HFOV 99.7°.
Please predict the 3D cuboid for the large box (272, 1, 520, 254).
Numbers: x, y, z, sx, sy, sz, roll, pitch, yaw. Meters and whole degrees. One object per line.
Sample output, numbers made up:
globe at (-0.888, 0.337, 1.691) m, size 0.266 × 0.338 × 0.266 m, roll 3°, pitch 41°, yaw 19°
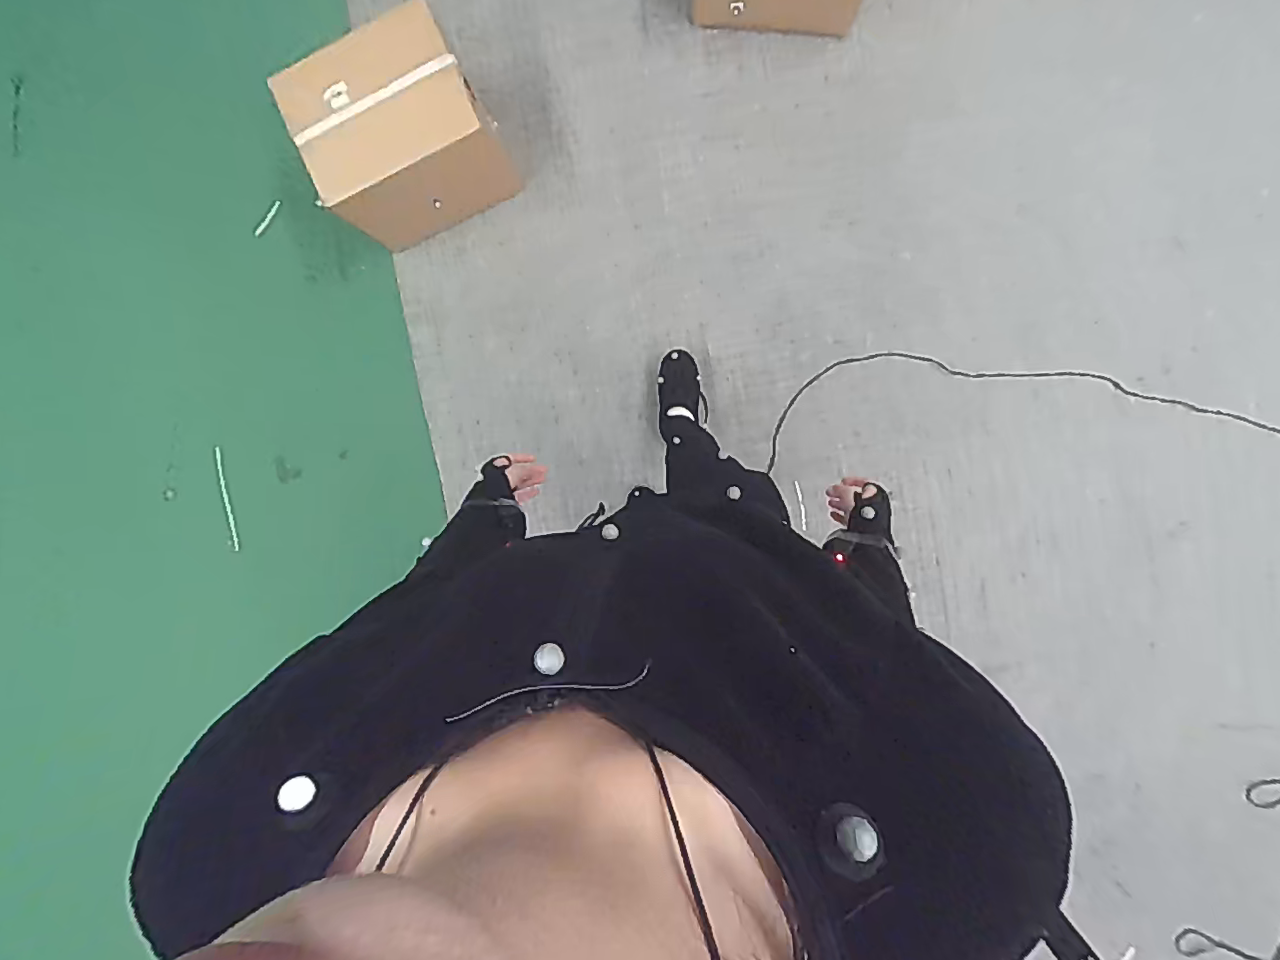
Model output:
large box at (-0.574, -0.832, 1.342) m, size 0.408 × 0.320 × 0.320 m, roll -24°, pitch 91°, yaw 7°
